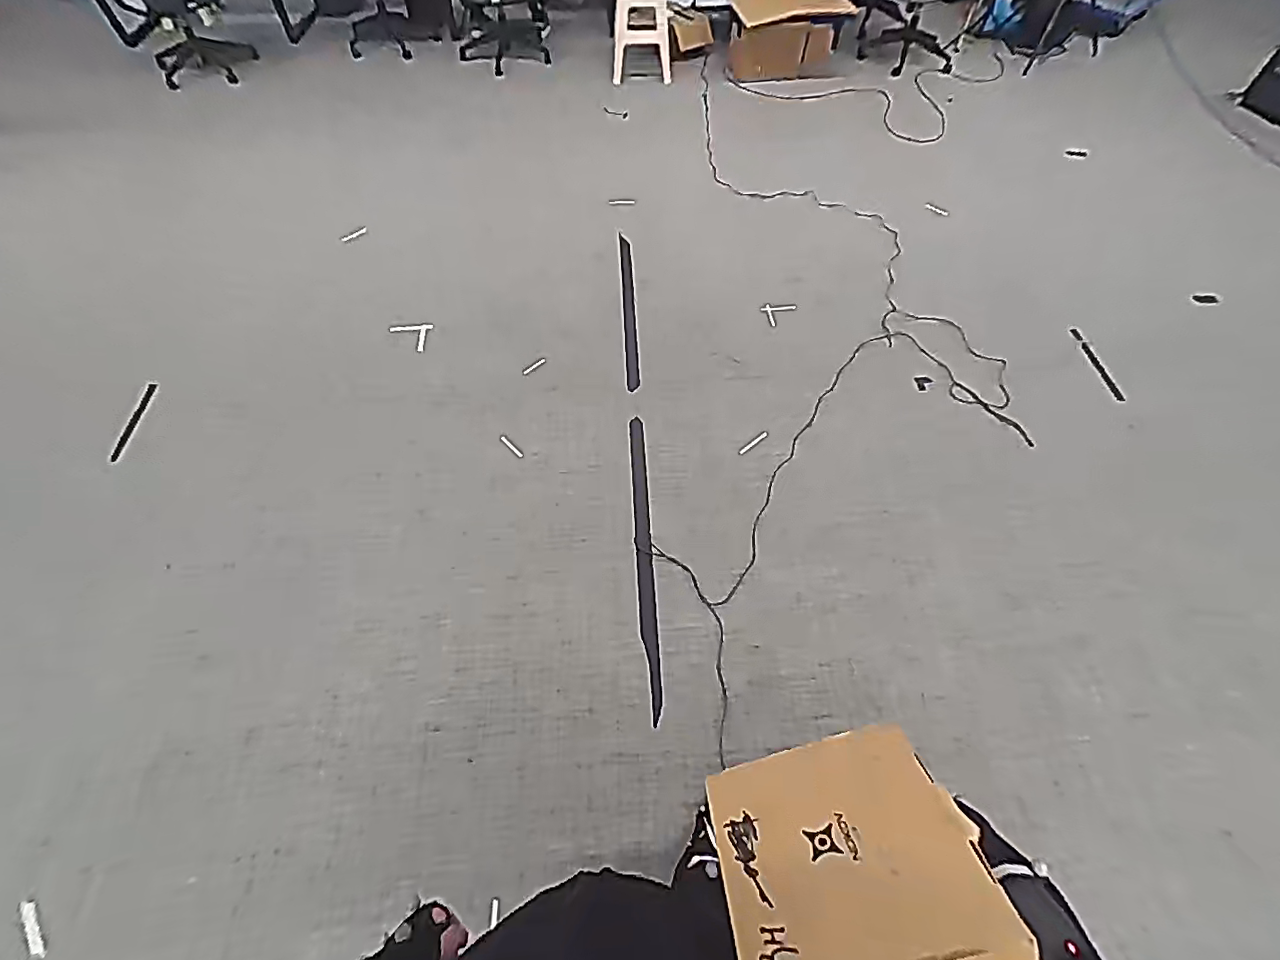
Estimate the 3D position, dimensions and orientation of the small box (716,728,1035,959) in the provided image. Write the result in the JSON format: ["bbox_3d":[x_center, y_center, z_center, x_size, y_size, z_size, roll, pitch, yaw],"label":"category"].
[{"bbox_3d":[0.176,0.342,0.434,0.179,0.176,0.168,-17,20,4],"label":"small box"}]
